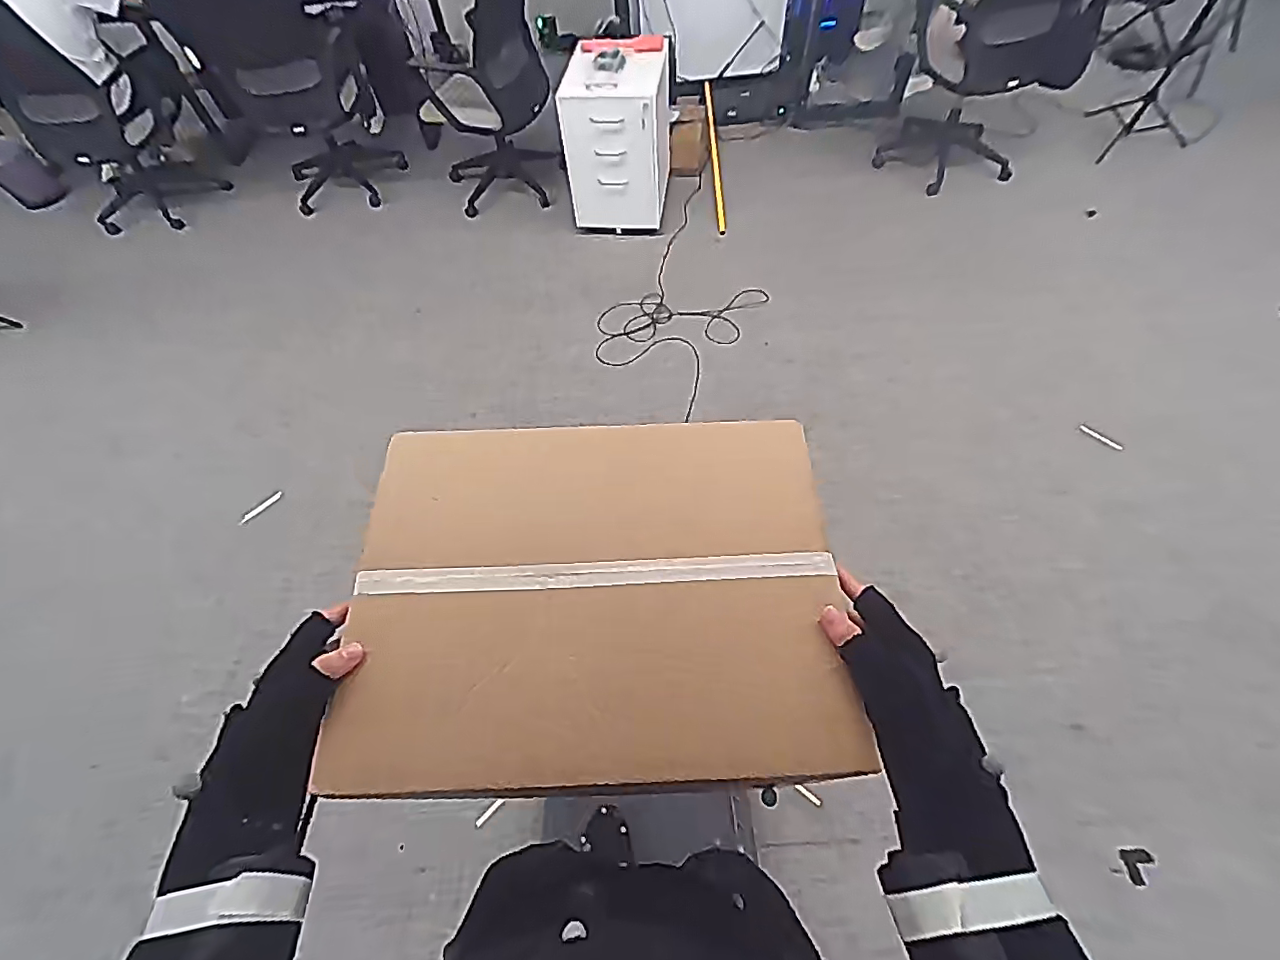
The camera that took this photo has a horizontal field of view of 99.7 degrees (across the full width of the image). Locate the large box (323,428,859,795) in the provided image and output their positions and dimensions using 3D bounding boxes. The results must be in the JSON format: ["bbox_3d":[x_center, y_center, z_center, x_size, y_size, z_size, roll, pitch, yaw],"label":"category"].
[{"bbox_3d":[-0.038,0.161,0.599,0.408,0.320,0.320,-1,59,-1],"label":"large box"}]
